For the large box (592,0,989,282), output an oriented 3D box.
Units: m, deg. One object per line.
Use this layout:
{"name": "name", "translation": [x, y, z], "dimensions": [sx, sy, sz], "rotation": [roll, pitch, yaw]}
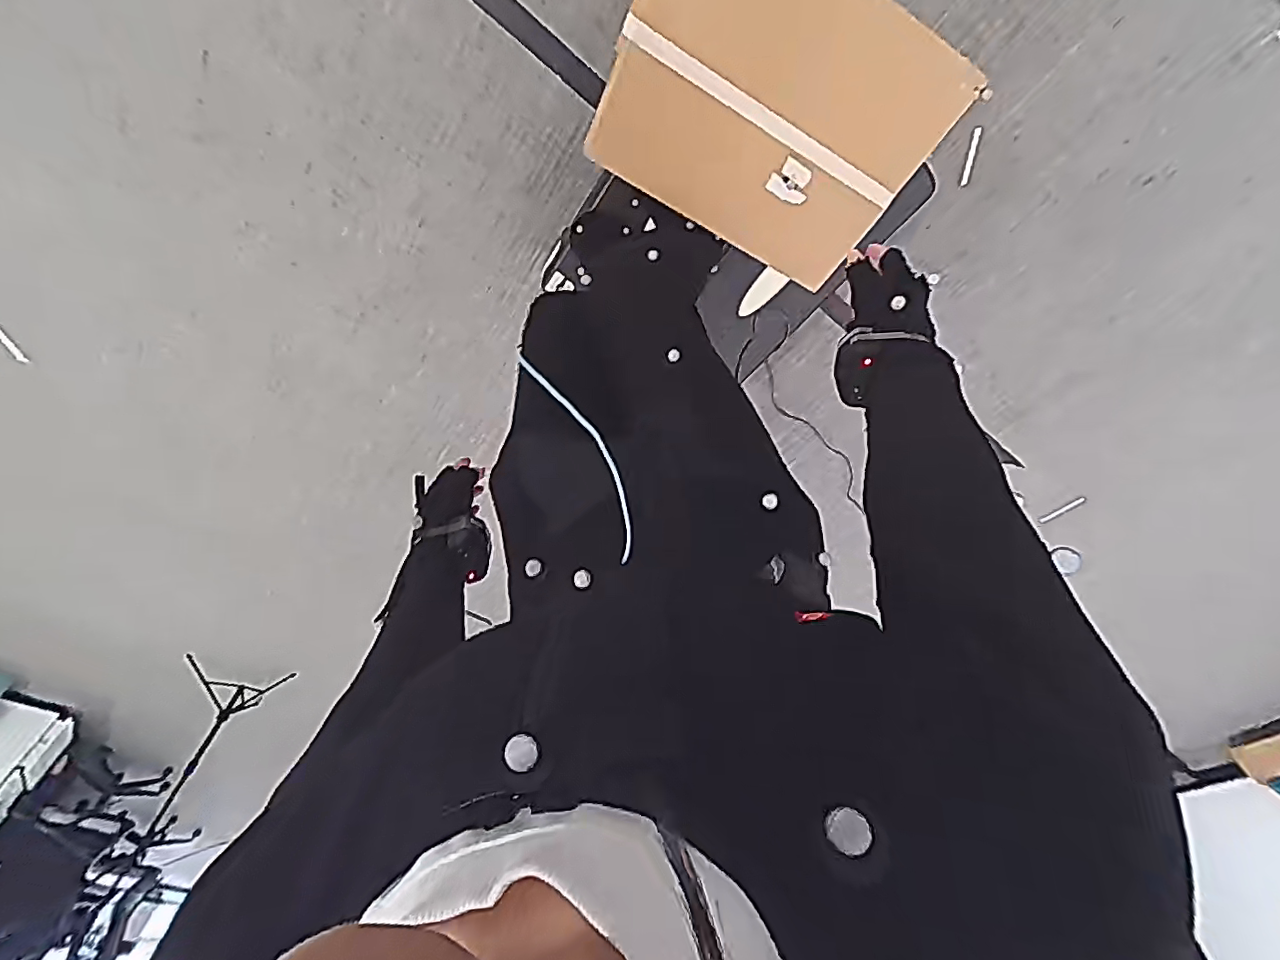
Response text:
{"name": "large box", "translation": [0.185, -0.574, 0.793], "dimensions": [0.408, 0.320, 0.320], "rotation": [22, 136, -16]}
